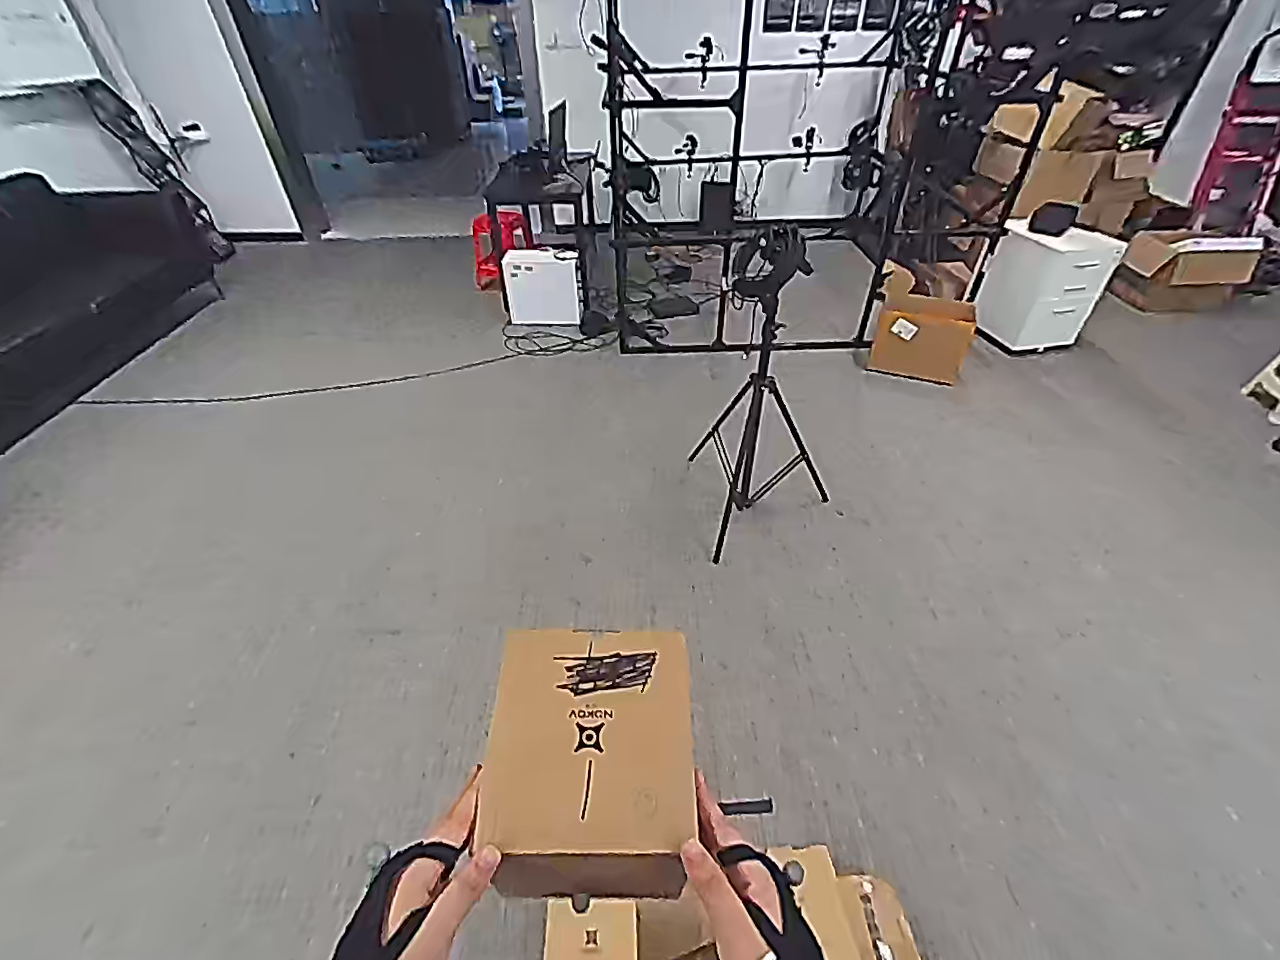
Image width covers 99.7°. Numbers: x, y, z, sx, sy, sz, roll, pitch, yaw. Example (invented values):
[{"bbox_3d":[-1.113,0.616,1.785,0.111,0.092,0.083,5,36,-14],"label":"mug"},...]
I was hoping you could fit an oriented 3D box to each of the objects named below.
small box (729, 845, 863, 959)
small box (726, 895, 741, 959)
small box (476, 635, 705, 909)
[{"bbox_3d":[0.252,0.756,0.917,0.168,0.176,0.179,-5,40,-4],"label":"small box"},{"bbox_3d":[0.263,0.880,1.021,0.168,0.176,0.179,-2,41,-3],"label":"small box"},{"bbox_3d":[-0.039,0.265,0.495,0.168,0.176,0.179,1,43,-2],"label":"small box"}]
